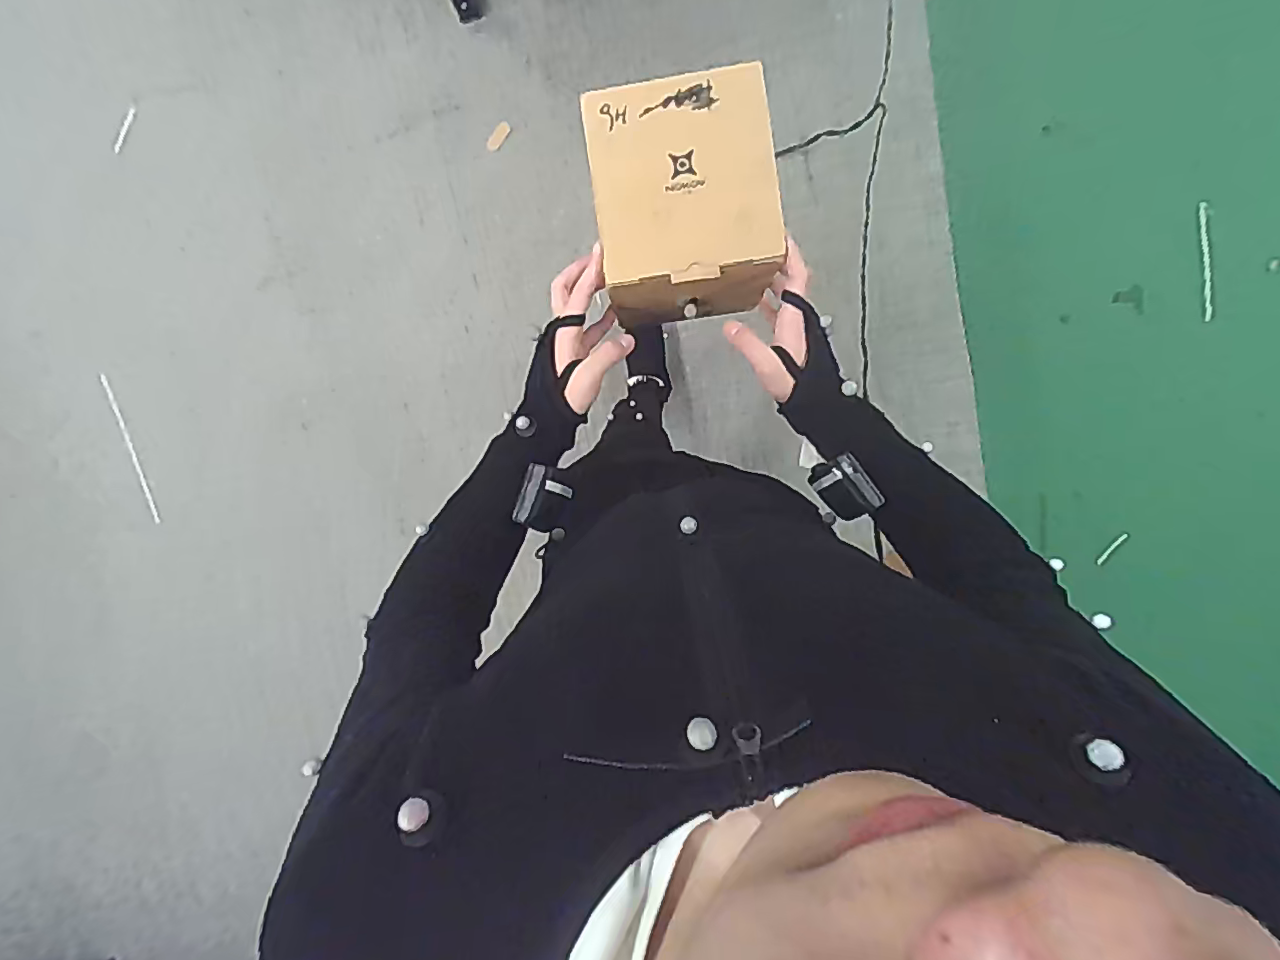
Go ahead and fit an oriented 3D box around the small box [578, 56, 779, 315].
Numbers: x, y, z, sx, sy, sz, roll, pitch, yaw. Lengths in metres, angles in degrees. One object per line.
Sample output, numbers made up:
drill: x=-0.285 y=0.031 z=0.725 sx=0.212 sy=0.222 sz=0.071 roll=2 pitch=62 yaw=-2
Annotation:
small box: x=0.040 y=-0.279 z=0.559 sx=0.168 sy=0.176 sz=0.179 roll=-7 pitch=93 yaw=3
